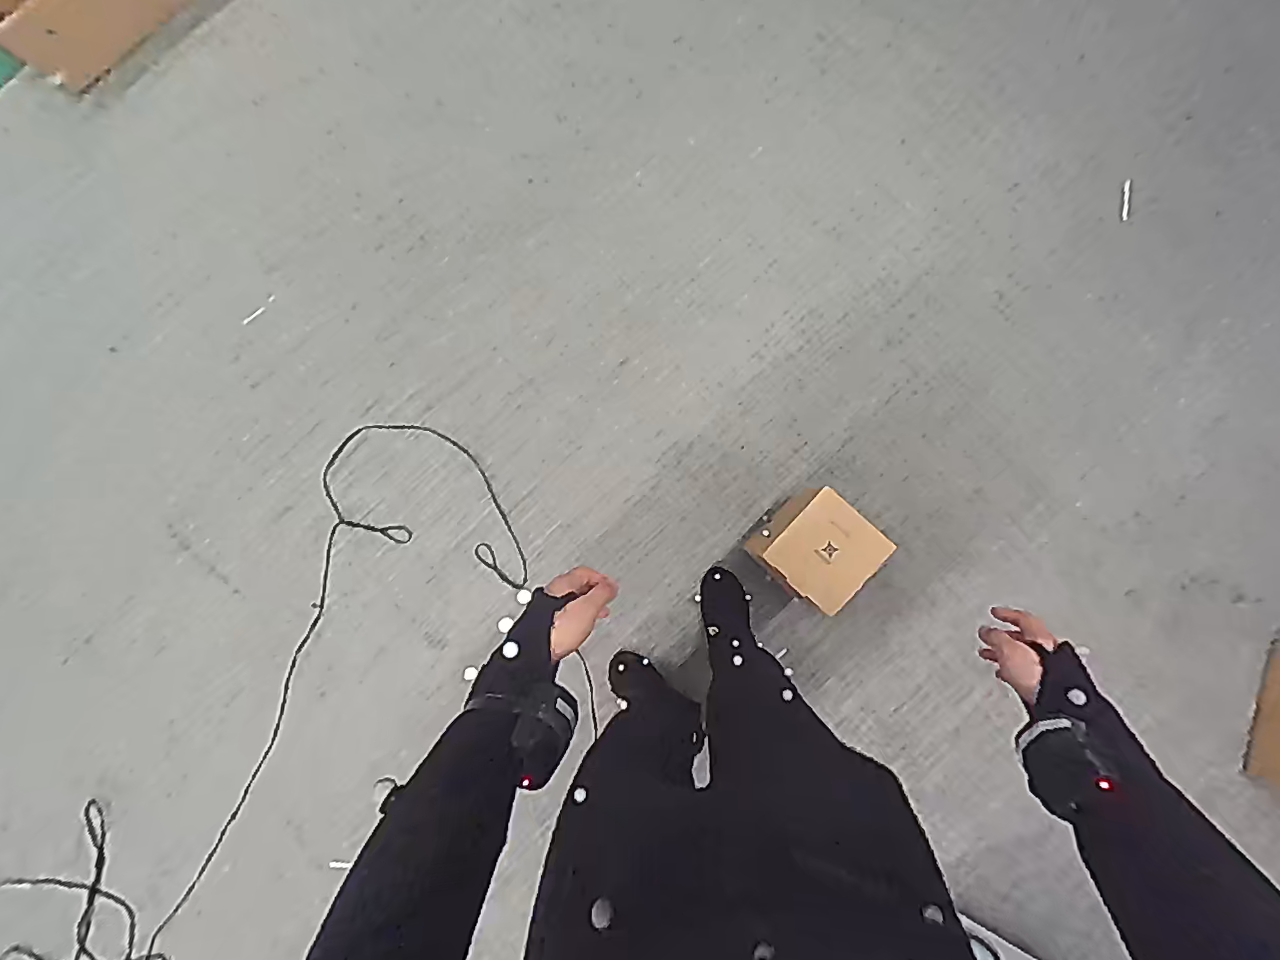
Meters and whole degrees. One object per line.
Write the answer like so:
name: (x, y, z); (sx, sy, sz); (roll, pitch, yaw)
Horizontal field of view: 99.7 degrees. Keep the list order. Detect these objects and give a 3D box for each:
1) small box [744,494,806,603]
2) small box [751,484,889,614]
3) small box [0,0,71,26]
small box: (0.349, 0.144, 1.204); (0.179, 0.176, 0.168); (-45, 86, 0)
small box: (0.332, 0.128, 1.042); (0.168, 0.176, 0.179); (42, 88, 3)
small box: (-1.589, -1.293, 1.346); (0.168, 0.176, 0.179); (-42, 86, 0)
